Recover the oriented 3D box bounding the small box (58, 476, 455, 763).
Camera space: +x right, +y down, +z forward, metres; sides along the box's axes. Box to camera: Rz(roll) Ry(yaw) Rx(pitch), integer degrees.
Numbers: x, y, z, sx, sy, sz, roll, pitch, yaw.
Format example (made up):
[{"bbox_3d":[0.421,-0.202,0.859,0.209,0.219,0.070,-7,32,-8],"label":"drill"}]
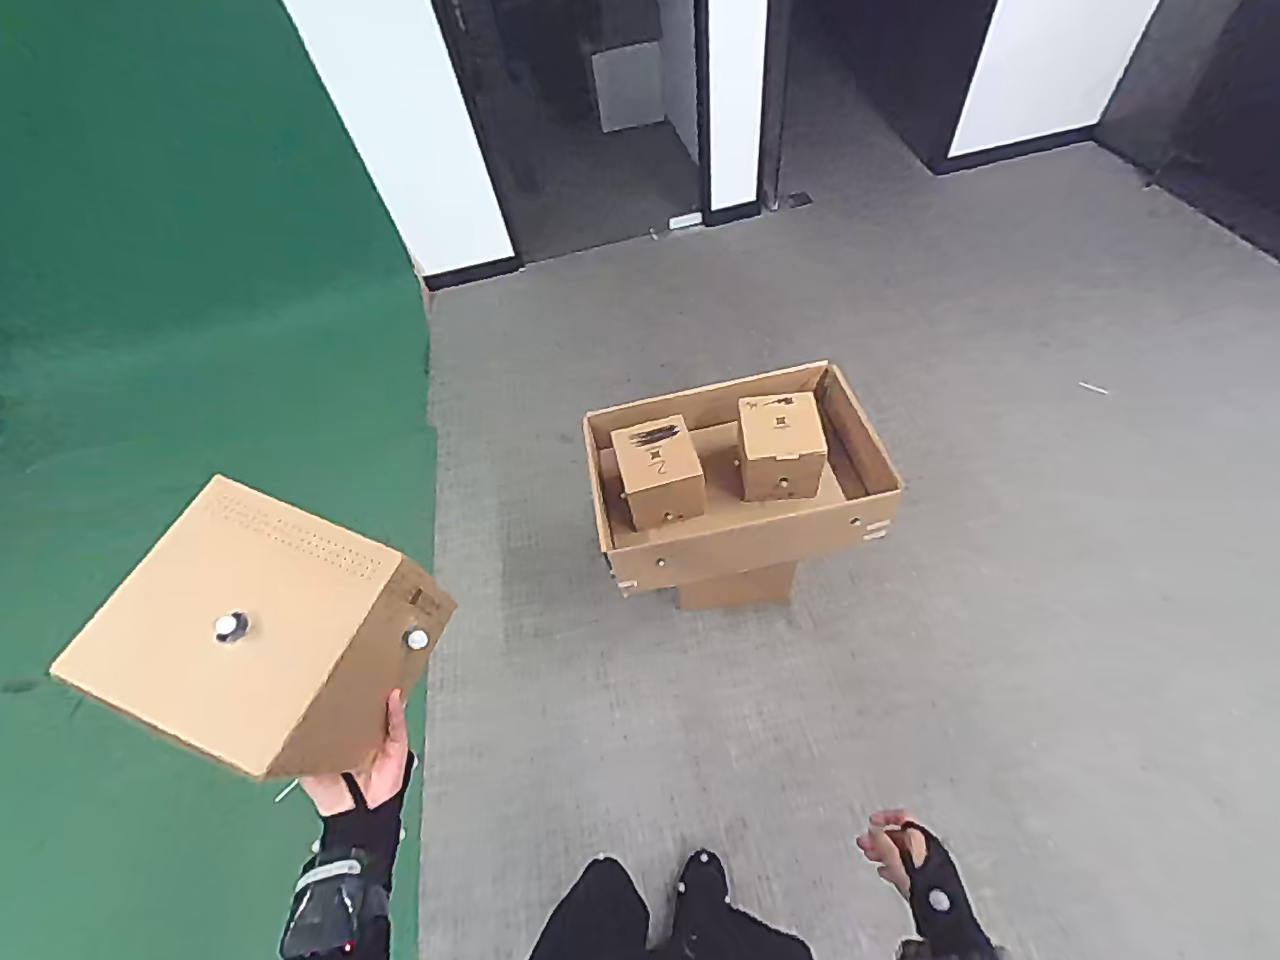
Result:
[{"bbox_3d":[-0.292,0.118,0.461,0.179,0.168,0.176,21,63,7],"label":"small box"}]
